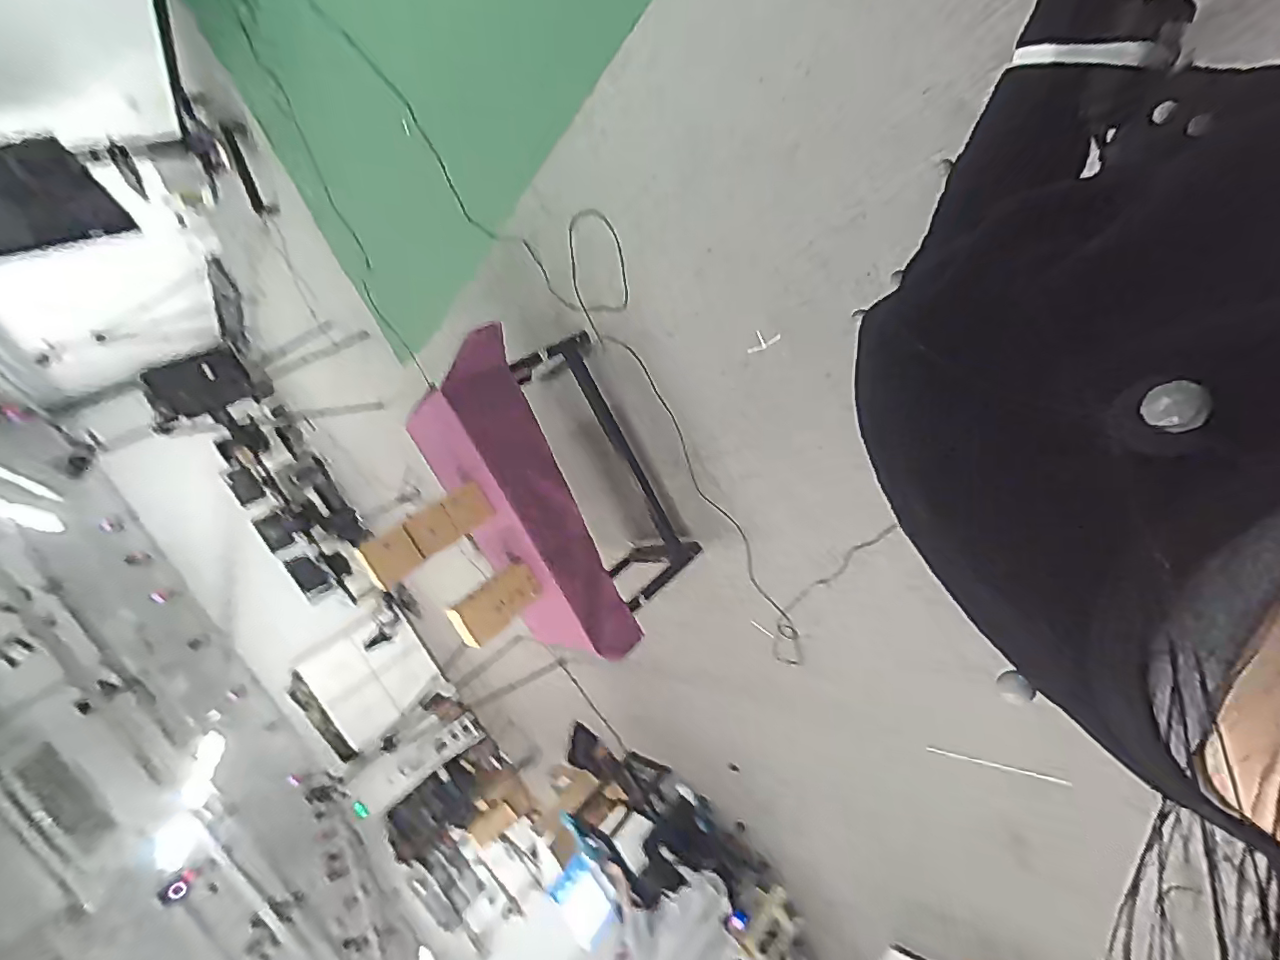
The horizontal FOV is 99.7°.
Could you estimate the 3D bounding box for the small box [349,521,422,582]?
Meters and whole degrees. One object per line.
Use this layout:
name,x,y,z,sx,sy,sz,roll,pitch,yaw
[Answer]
small box,-0.948,0.261,2.018,0.168,0.176,0.179,-11,110,54

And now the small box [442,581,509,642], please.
small box,-0.665,0.525,2.191,0.168,0.176,0.179,-11,109,54

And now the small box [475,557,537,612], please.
small box,-0.559,0.437,2.282,0.179,0.176,0.168,-13,108,54

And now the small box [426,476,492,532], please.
small box,-0.739,0.096,2.209,0.168,0.176,0.179,-11,110,54
